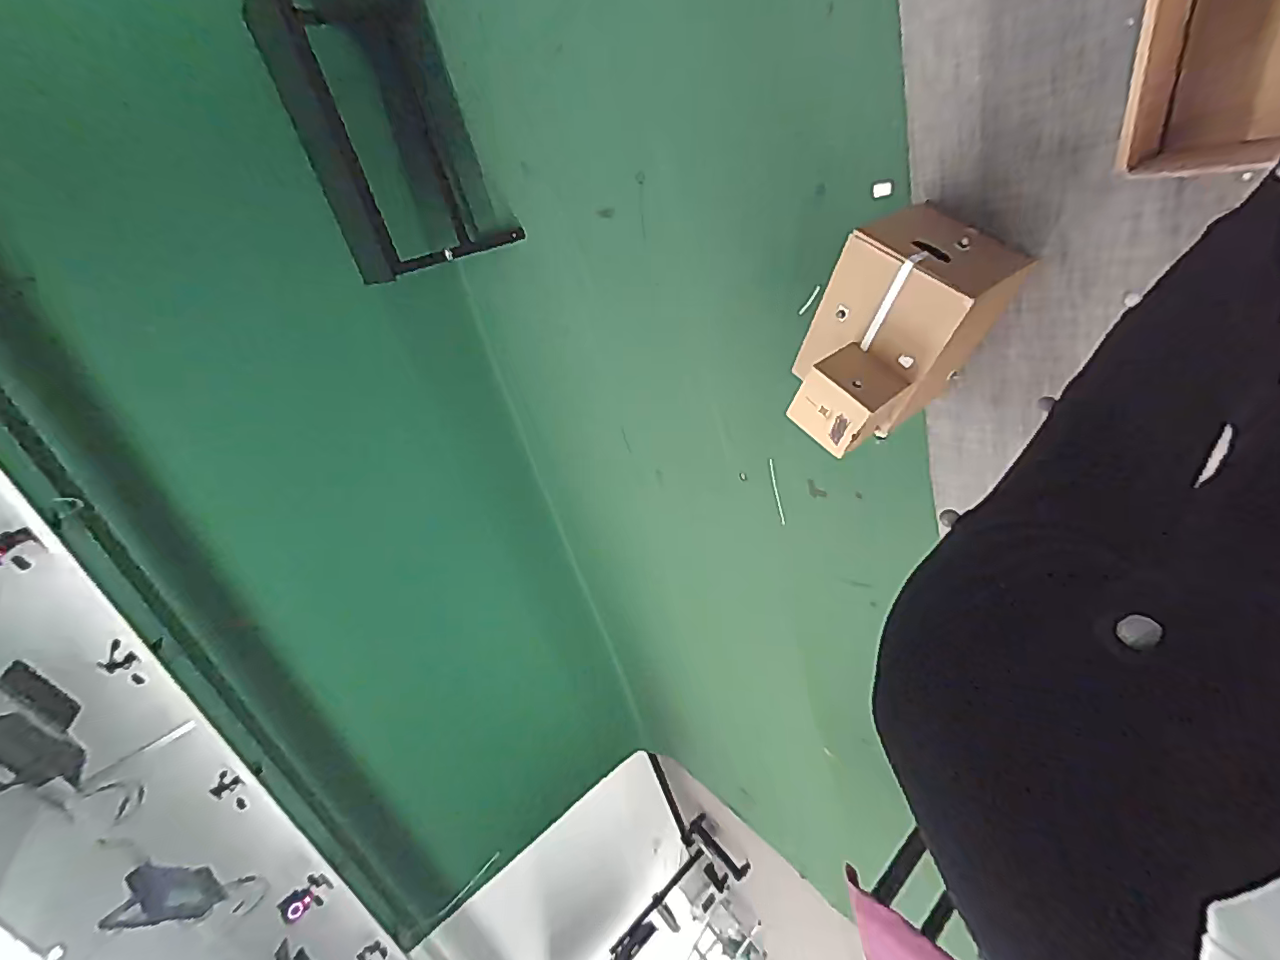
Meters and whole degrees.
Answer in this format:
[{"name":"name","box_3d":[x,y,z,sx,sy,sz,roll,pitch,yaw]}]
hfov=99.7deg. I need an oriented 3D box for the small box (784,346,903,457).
[{"name":"small box","box_3d":[0.488,-0.195,1.297,0.179,0.176,0.168,46,148,21]}]
